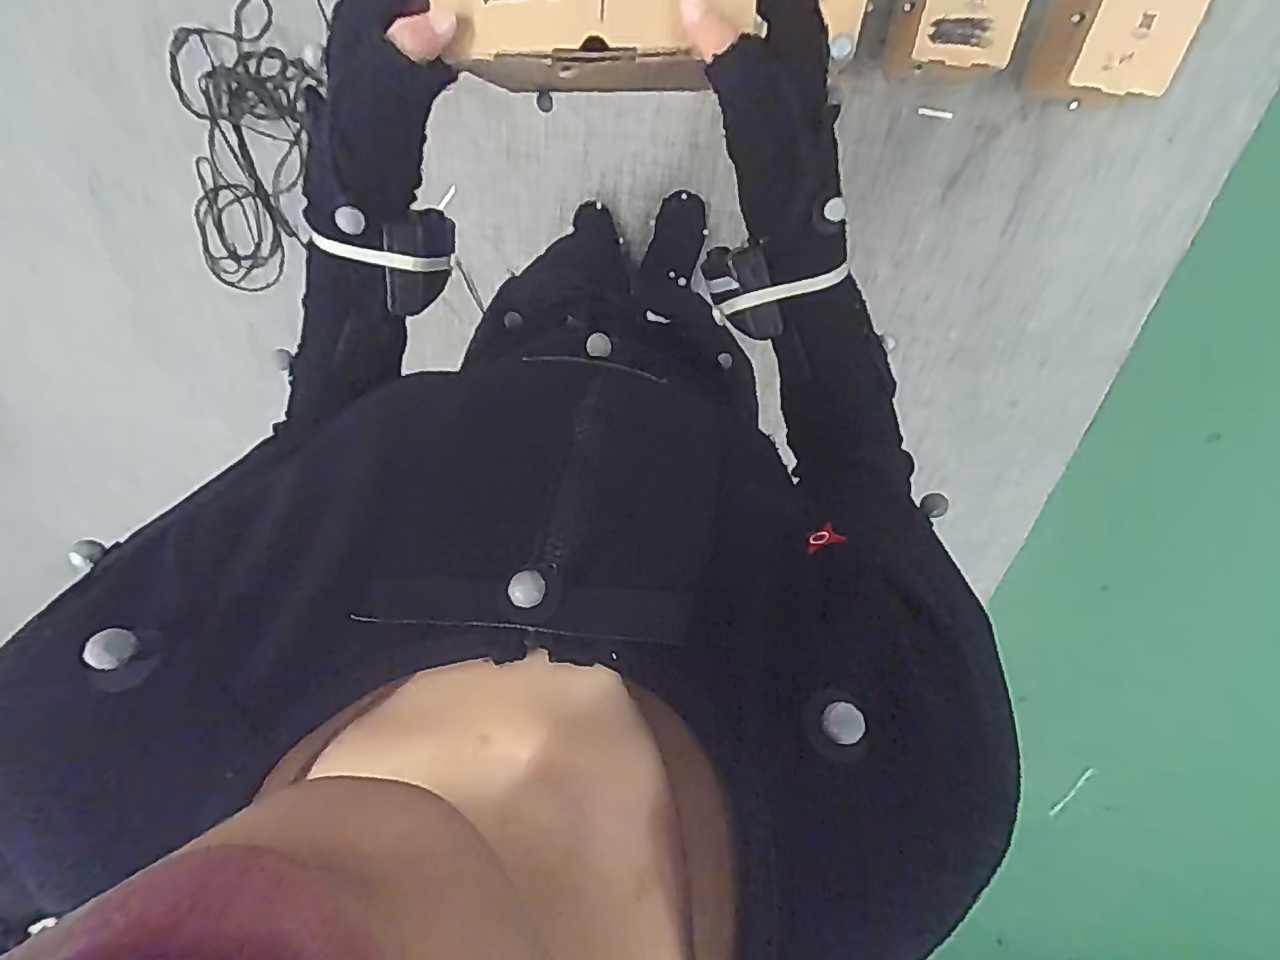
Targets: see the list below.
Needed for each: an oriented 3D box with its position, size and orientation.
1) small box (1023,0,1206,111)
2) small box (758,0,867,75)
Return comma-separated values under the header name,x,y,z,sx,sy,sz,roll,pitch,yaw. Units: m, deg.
name,x,y,z,sx,sy,sz,roll,pitch,yaw
small box,0.840,-0.789,0.974,0.168,0.176,0.179,10,120,2
small box,0.318,-0.876,0.993,0.168,0.176,0.179,10,120,3
